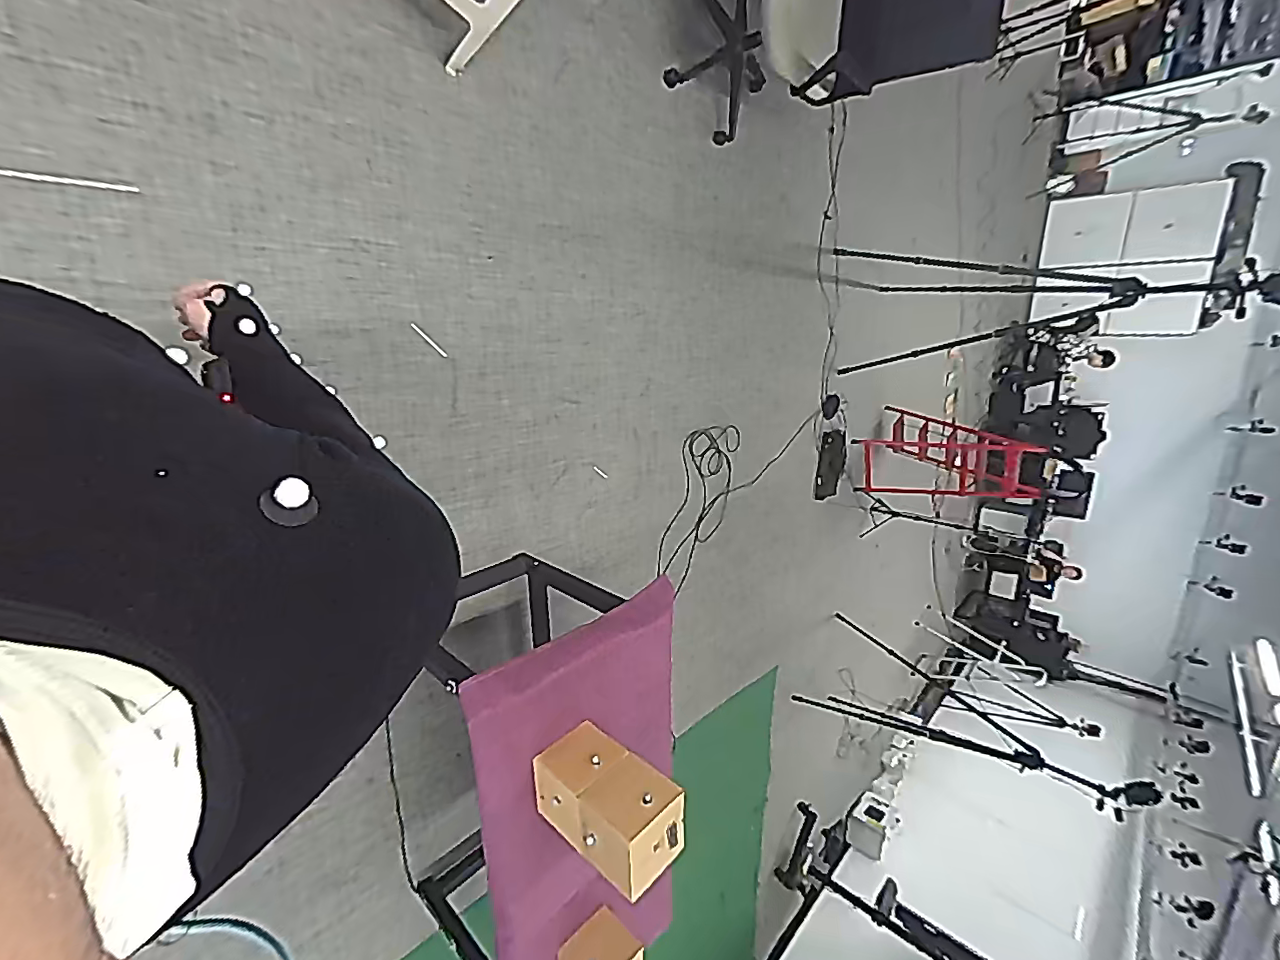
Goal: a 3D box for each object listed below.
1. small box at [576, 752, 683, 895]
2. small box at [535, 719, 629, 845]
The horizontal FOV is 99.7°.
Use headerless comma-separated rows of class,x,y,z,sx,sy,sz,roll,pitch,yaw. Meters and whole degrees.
small box,-0.023,0.758,1.217,0.179,0.176,0.168,-17,112,-43
small box,-0.143,0.729,1.325,0.179,0.176,0.168,-18,113,-44
